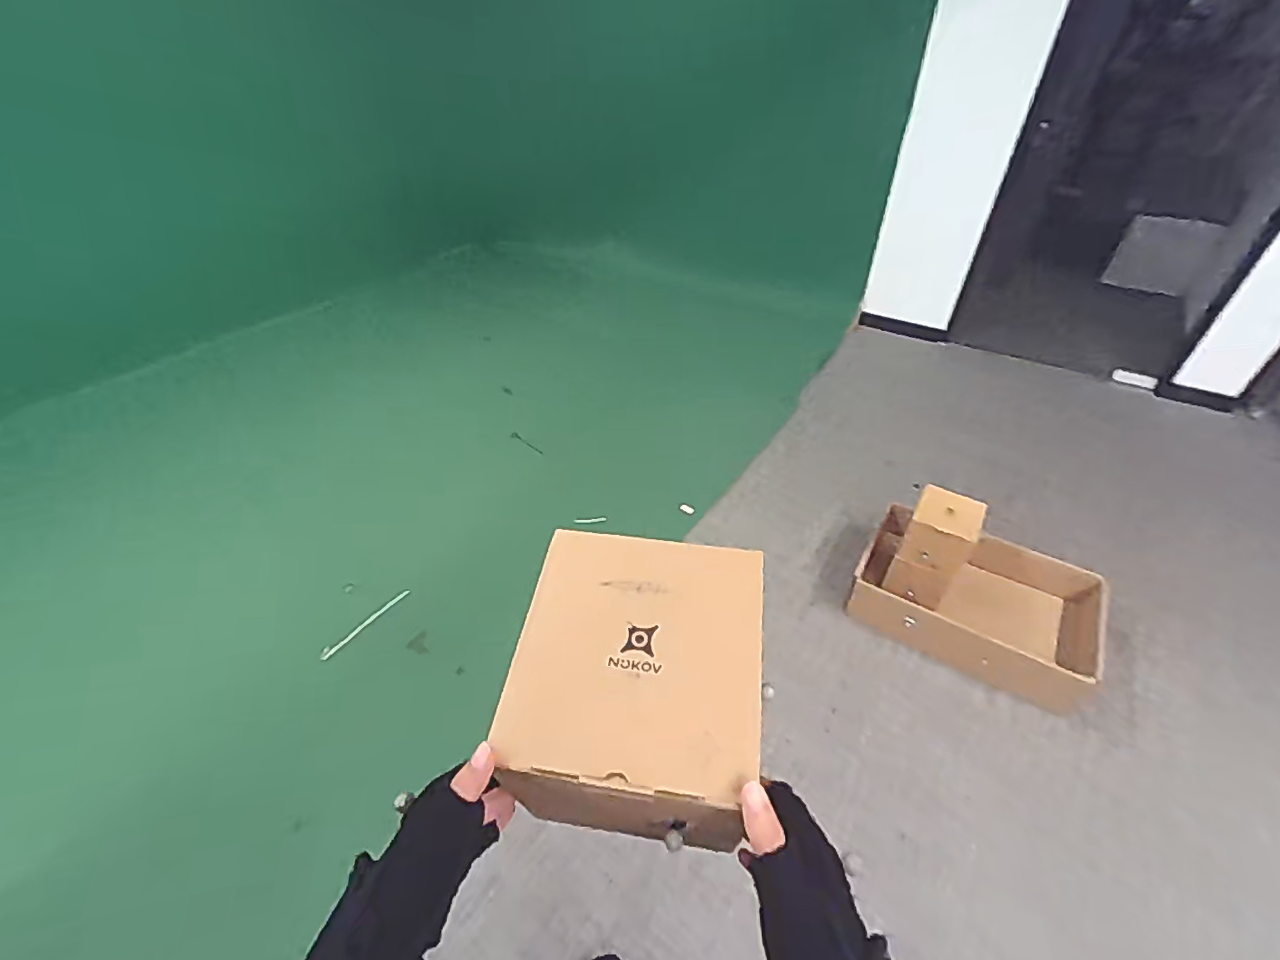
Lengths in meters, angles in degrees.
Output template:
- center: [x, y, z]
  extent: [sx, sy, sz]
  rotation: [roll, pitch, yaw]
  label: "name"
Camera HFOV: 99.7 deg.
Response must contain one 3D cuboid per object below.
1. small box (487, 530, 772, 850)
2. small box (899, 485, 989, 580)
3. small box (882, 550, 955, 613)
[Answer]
- center: [0.006, 0.165, 0.422]
  extent: [0.168, 0.176, 0.179]
  rotation: [7, 50, 8]
  label: "small box"
- center: [0.873, 0.152, 1.564]
  extent: [0.168, 0.176, 0.179]
  rotation: [24, 48, 25]
  label: "small box"
- center: [0.874, 0.274, 1.672]
  extent: [0.168, 0.176, 0.179]
  rotation: [25, 48, 26]
  label: "small box"
